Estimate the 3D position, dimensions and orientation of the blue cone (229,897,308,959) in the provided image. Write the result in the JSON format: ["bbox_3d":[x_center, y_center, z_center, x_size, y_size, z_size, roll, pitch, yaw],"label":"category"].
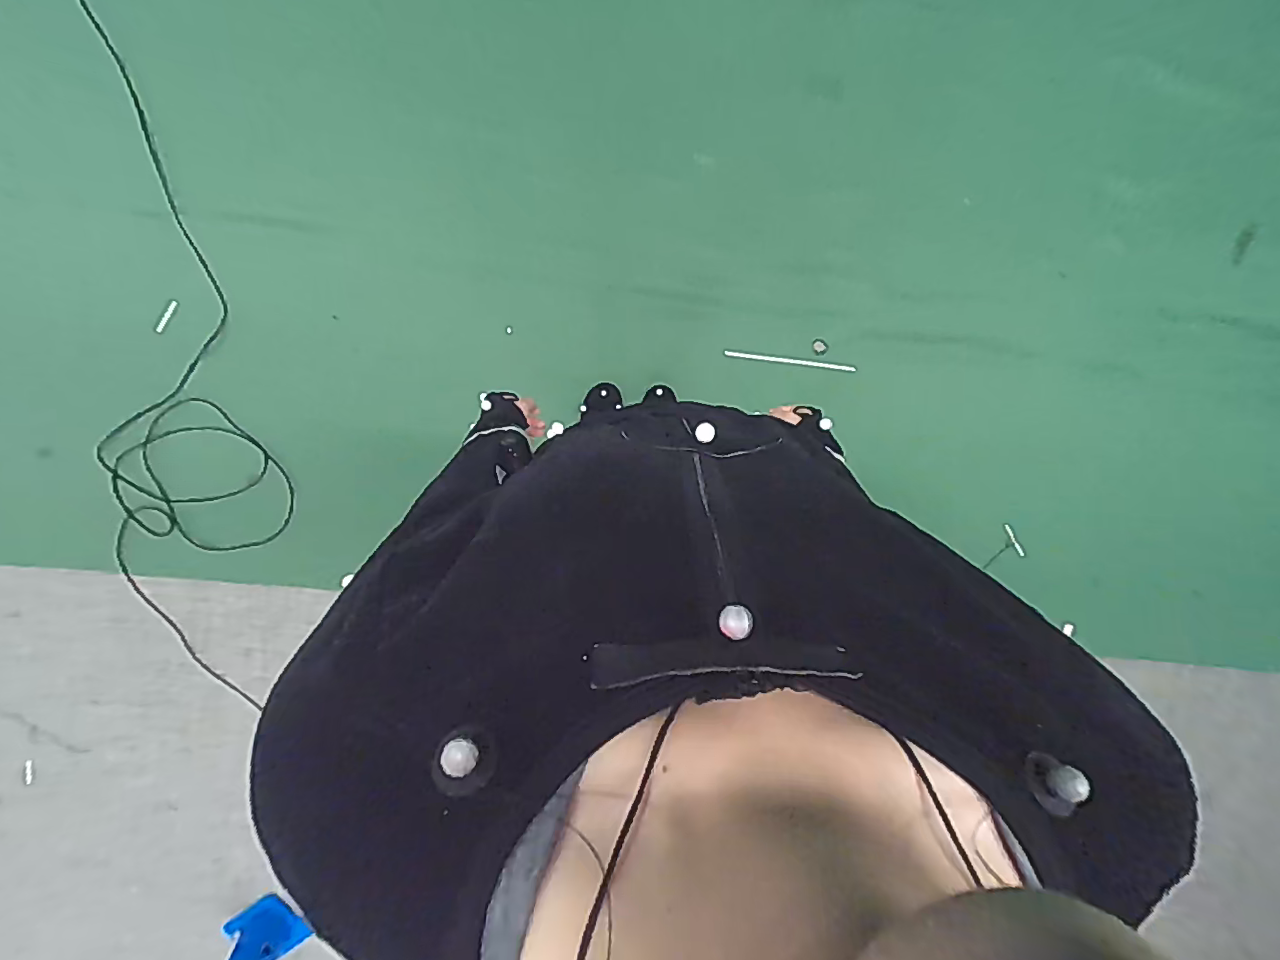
[{"bbox_3d":[-1.129,1.419,1.502,0.193,0.380,0.192,-37,103,5],"label":"blue cone"}]
